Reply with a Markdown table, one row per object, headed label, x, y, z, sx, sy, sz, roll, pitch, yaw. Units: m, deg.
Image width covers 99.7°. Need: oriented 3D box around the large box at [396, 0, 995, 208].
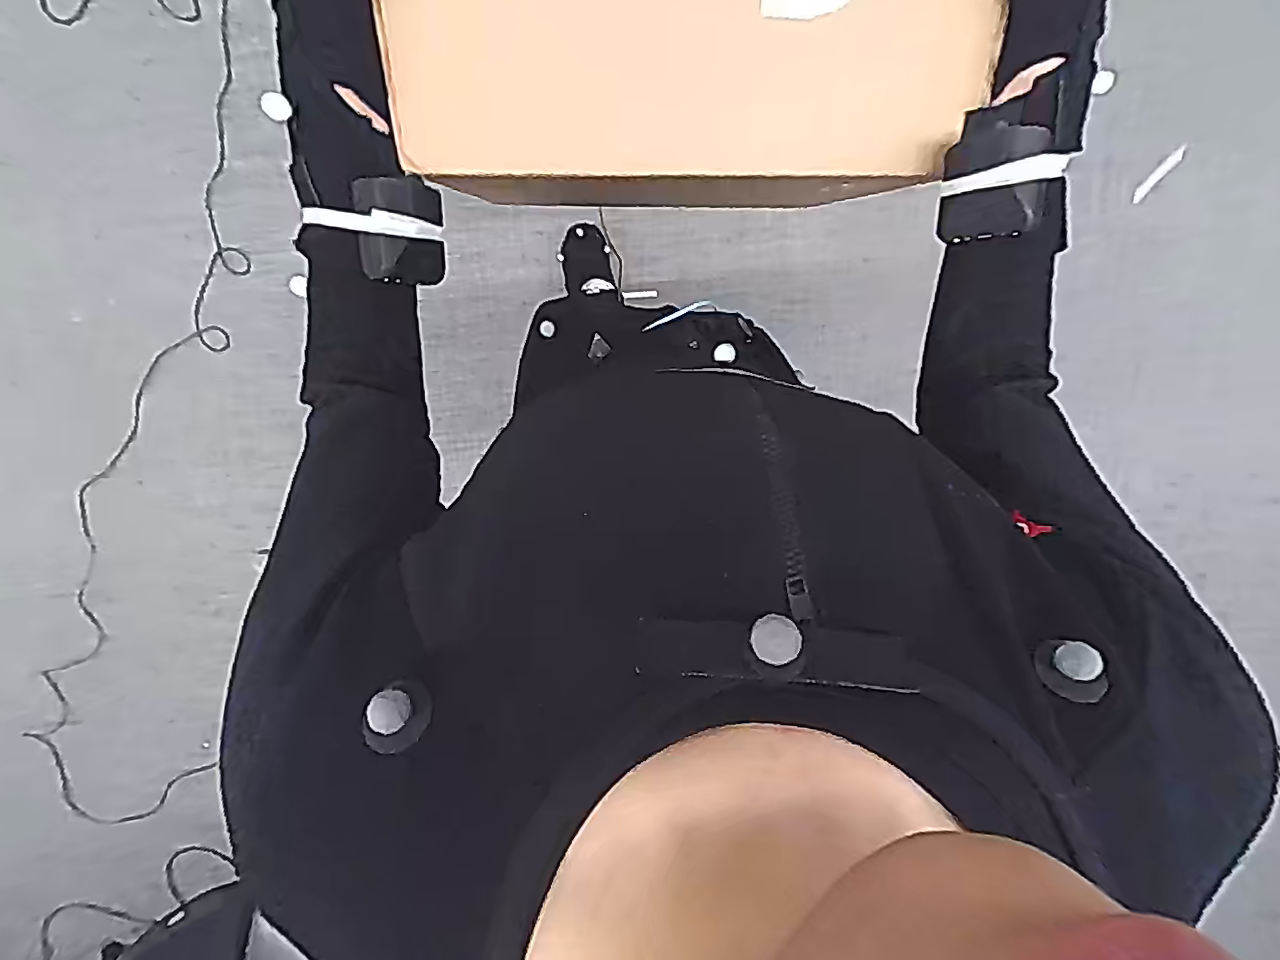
| label | x | y | z | sx | sy | sz | roll | pitch | yaw |
| --- | --- | --- | --- | --- | --- | --- | --- | --- | --- |
| large box | 0.029 | -0.421 | 0.467 | 0.408 | 0.320 | 0.320 | -2 | 114 | -4 |
